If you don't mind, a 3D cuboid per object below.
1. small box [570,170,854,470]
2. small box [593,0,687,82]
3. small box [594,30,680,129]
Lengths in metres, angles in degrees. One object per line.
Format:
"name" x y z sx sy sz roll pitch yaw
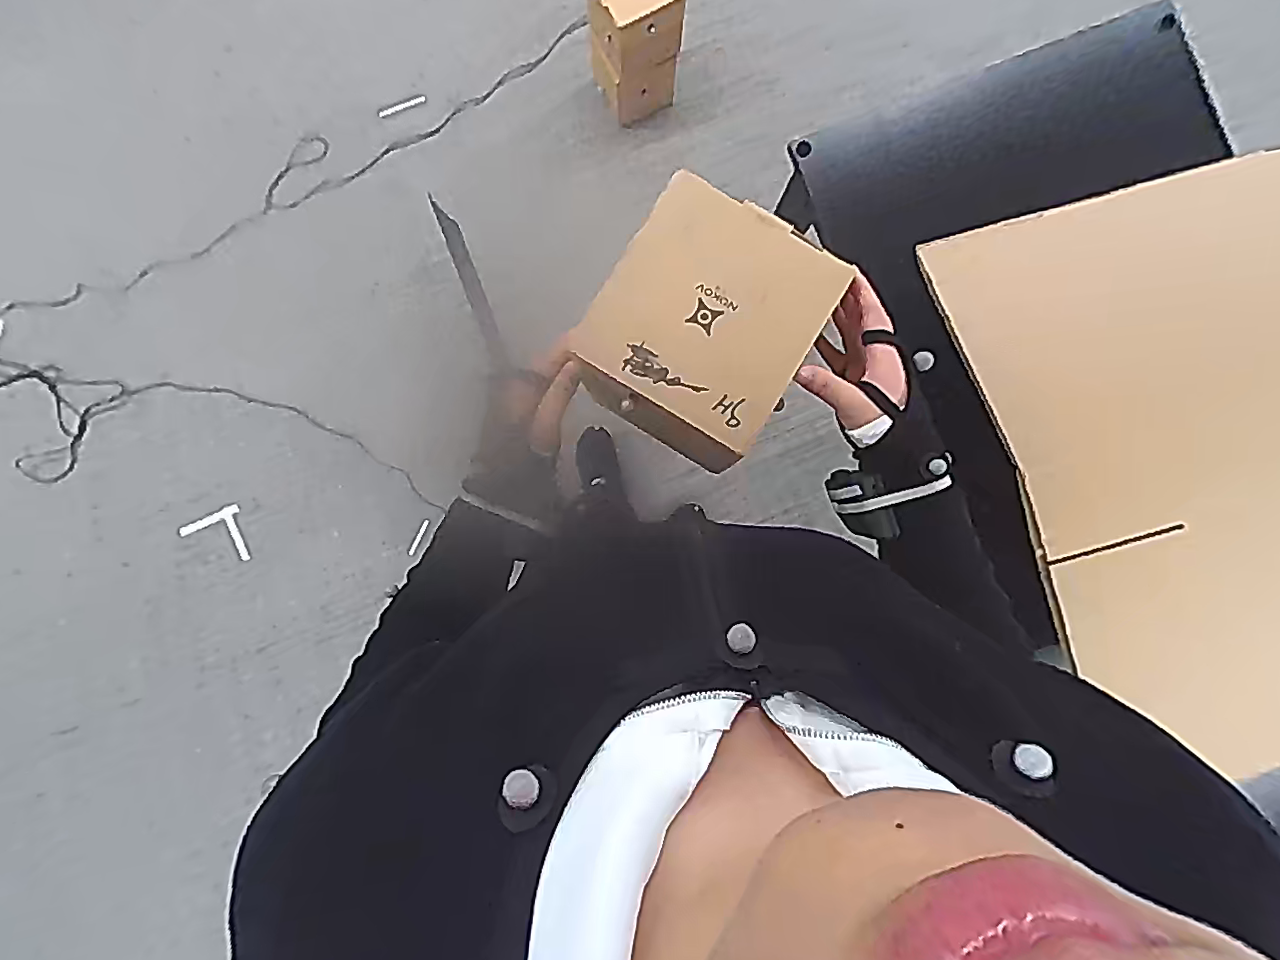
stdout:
"small box" 0.057 -0.128 0.501 0.168 0.176 0.179 31 86 4
"small box" -0.004 -1.111 1.295 0.179 0.176 0.168 -28 90 -2
"small box" -0.010 -1.101 1.456 0.179 0.176 0.168 -25 88 0
